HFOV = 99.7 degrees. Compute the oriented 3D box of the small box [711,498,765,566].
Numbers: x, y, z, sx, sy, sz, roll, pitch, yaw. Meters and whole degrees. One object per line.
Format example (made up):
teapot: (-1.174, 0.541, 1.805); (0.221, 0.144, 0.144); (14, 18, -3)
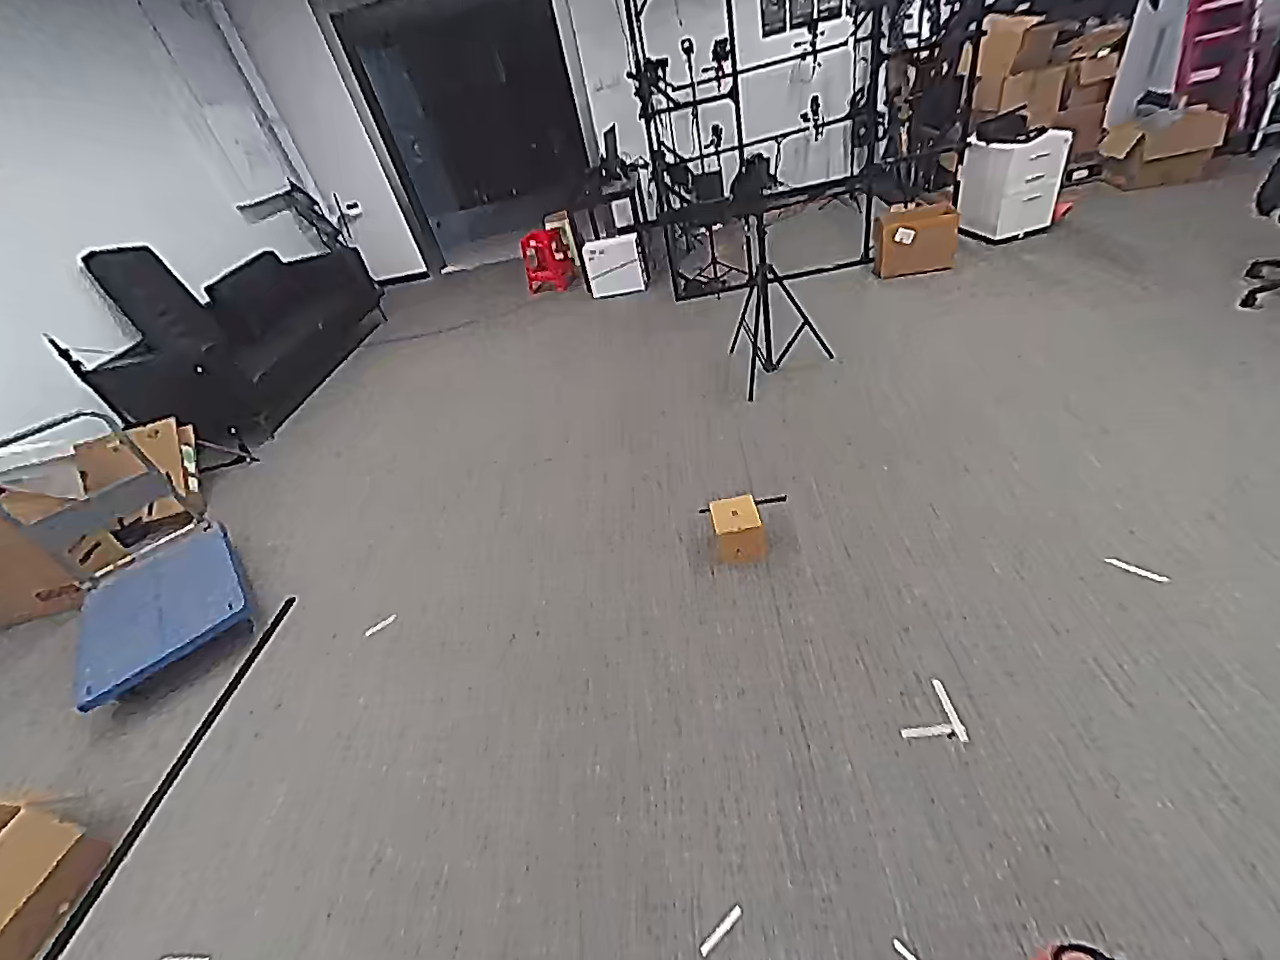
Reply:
small box: (0.365, 0.196, 2.022); (0.168, 0.176, 0.179); (-12, 37, 4)
